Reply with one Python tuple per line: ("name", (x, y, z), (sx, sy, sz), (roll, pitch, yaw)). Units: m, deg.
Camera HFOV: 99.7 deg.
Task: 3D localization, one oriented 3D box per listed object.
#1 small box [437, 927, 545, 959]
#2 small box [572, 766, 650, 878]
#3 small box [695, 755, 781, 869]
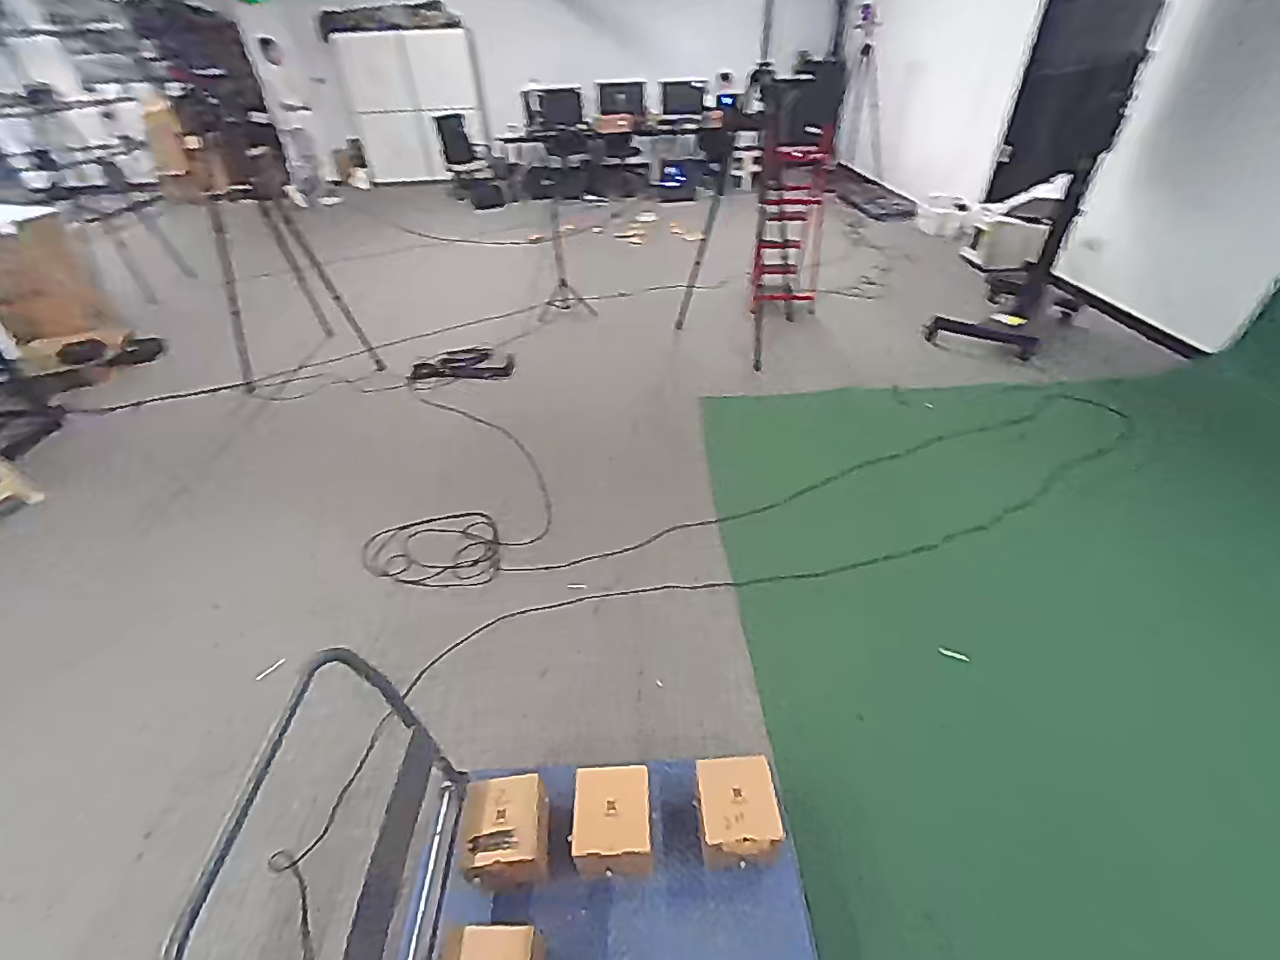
("small box", (-0.289, 0.976, 1.029), (0.179, 0.176, 0.168), (-1, 40, 2))
("small box", (-0.062, 0.788, 1.247), (0.168, 0.176, 0.179), (-3, 41, 0))
("small box", (0.217, 0.767, 1.250), (0.168, 0.176, 0.179), (-4, 40, 0))
